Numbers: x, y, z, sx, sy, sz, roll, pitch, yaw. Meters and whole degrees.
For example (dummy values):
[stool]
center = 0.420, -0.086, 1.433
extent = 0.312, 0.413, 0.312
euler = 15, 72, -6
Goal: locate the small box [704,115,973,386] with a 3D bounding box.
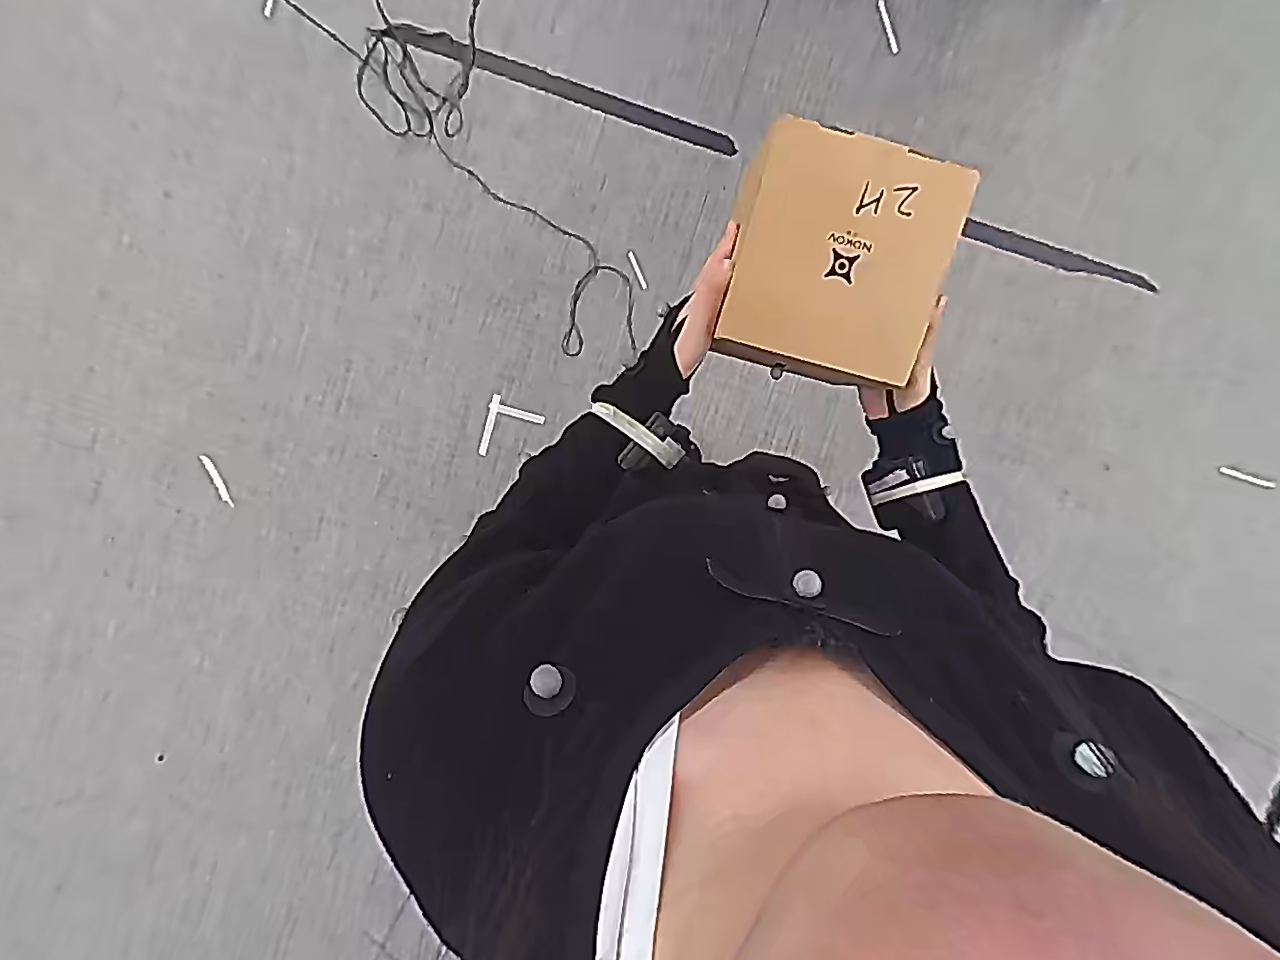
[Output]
[small box]
center = 0.165, -0.196, 0.518
extent = 0.168, 0.176, 0.179
euler = 15, 100, -3
